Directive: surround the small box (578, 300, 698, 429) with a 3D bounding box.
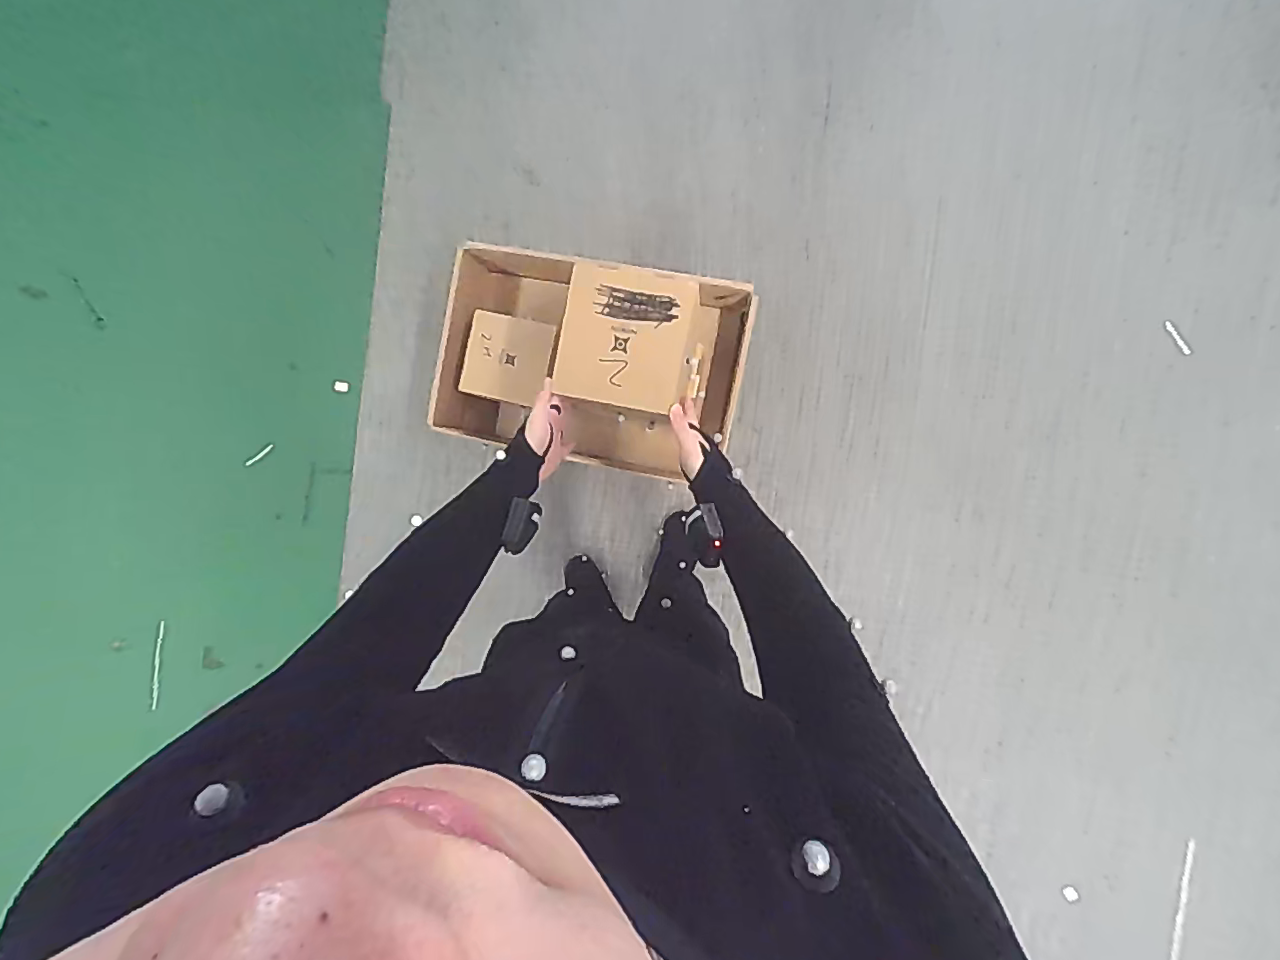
[{"bbox_3d":[0.005,-0.191,0.941,0.168,0.176,0.179,12,93,6],"label":"small box"}]
